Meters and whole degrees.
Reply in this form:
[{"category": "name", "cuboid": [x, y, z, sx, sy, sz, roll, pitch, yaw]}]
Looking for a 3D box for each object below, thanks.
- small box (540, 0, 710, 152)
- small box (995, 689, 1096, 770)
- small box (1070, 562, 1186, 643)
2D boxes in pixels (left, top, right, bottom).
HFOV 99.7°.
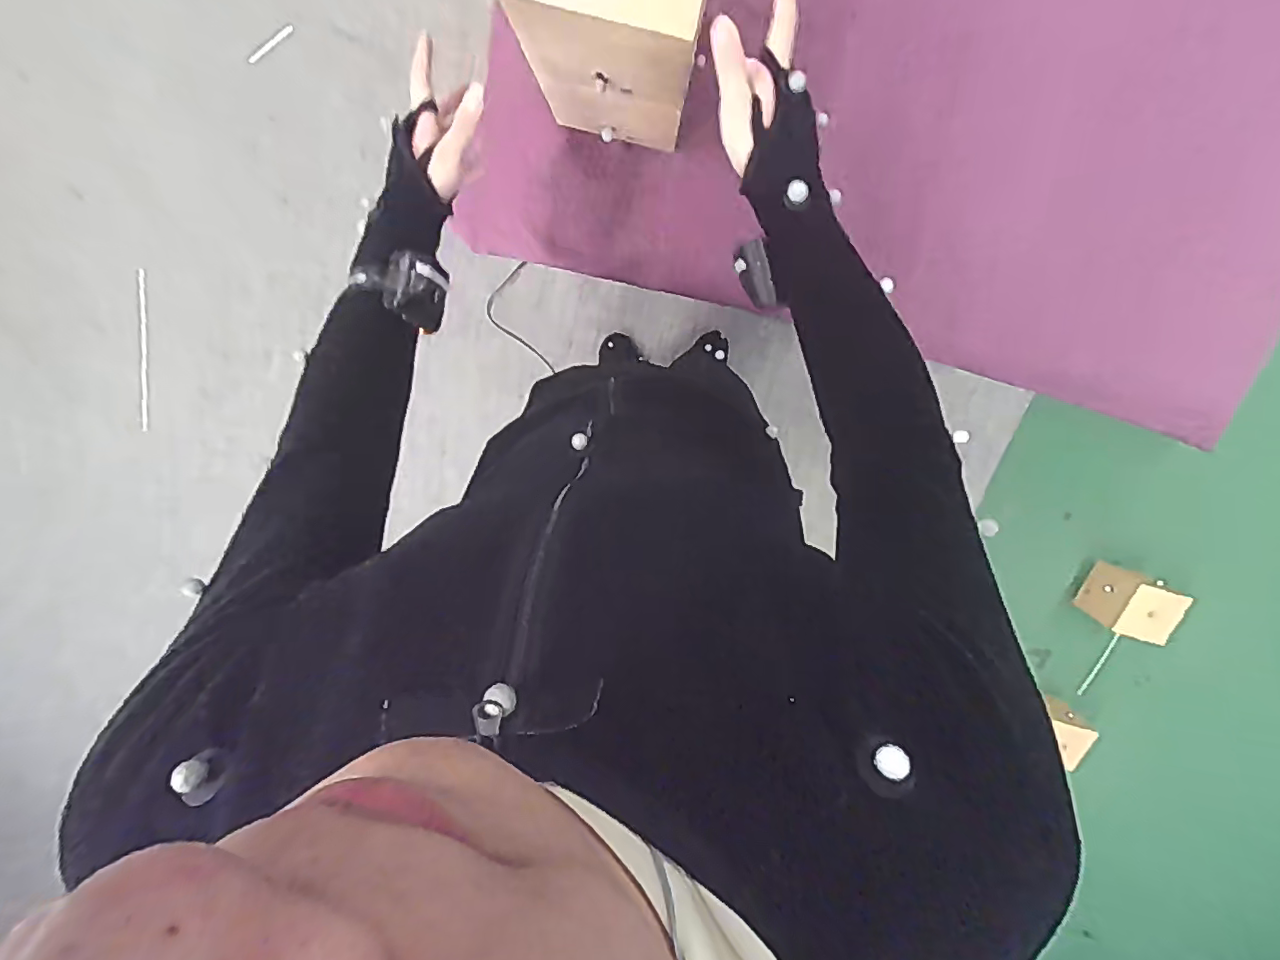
[{"category": "small box", "cuboid": [-0.012, -0.524, 0.641, 0.168, 0.176, 0.179, 12, 108, -4]}, {"category": "small box", "cuboid": [1.359, 0.835, 1.824, 0.179, 0.176, 0.168, 17, 107, -5]}, {"category": "small box", "cuboid": [1.507, 0.375, 1.684, 0.179, 0.176, 0.168, 15, 106, -5]}]
